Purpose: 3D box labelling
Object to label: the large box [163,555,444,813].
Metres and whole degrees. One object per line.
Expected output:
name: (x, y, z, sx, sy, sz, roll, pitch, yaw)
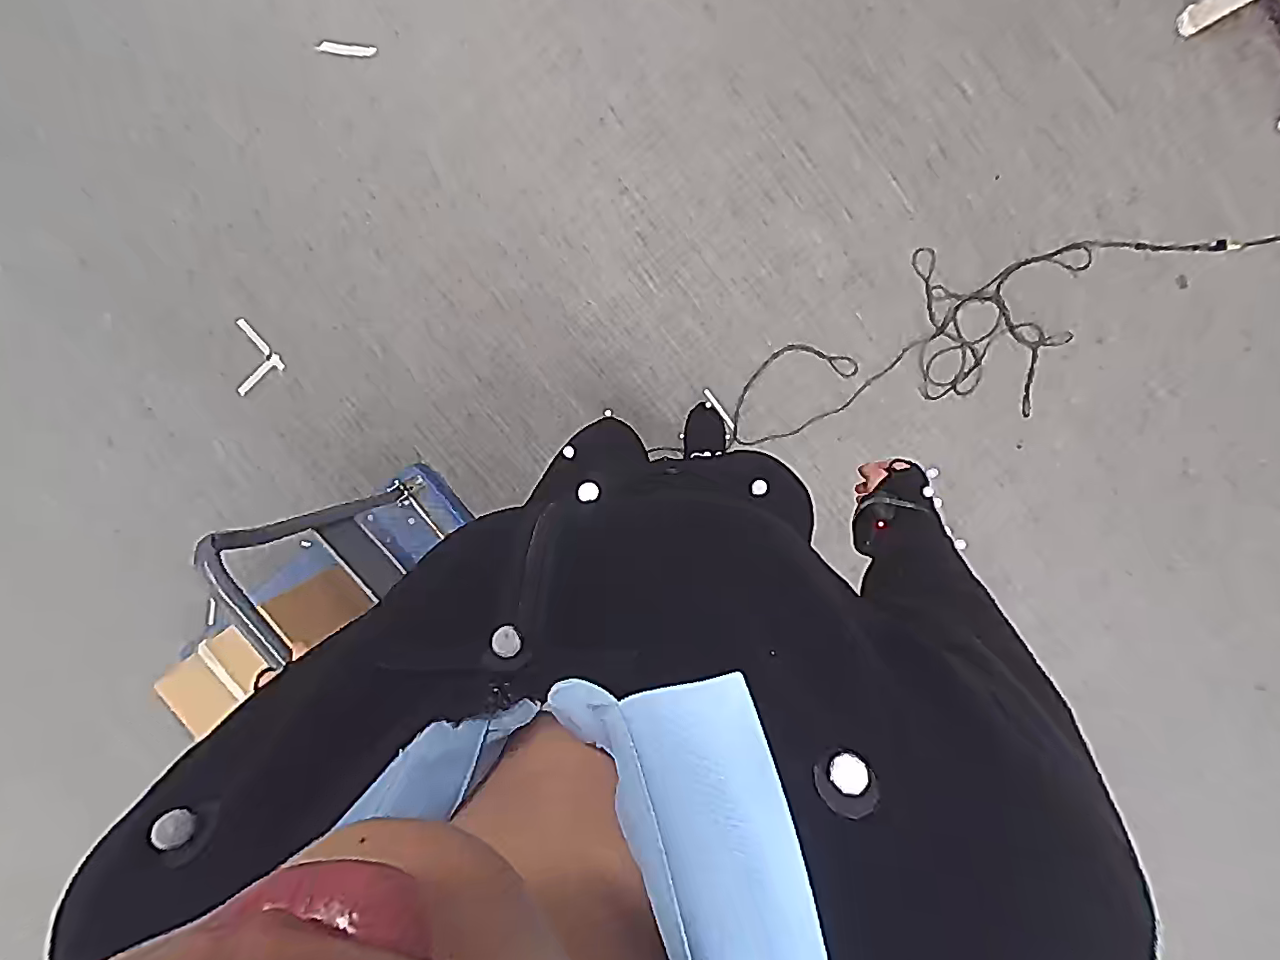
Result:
large box: (-0.752, 0.452, 1.274, 0.320, 0.320, 0.408, -35, 96, 8)
